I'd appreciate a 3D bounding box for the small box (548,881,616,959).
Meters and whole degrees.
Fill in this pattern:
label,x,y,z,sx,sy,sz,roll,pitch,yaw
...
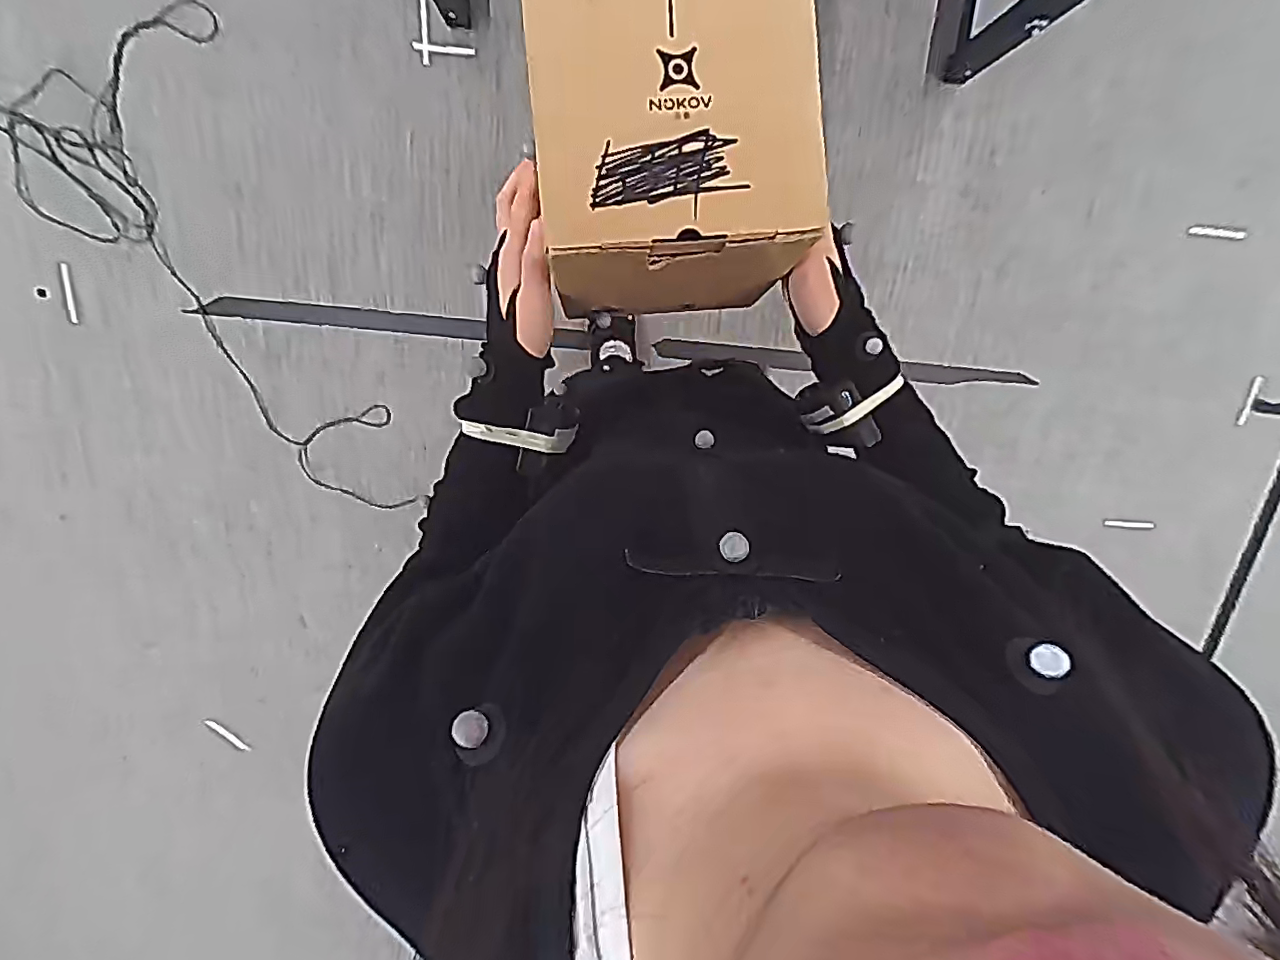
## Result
label,x,y,z,sx,sy,sz,roll,pitch,yaw
small box,-0.158,1.247,1.489,0.179,0.176,0.168,3,105,-3

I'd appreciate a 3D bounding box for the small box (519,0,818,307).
label,x,y,z,sx,sy,sz,roll,pitch,yaw
small box,0.013,-0.231,0.387,0.168,0.176,0.179,-5,93,-3
